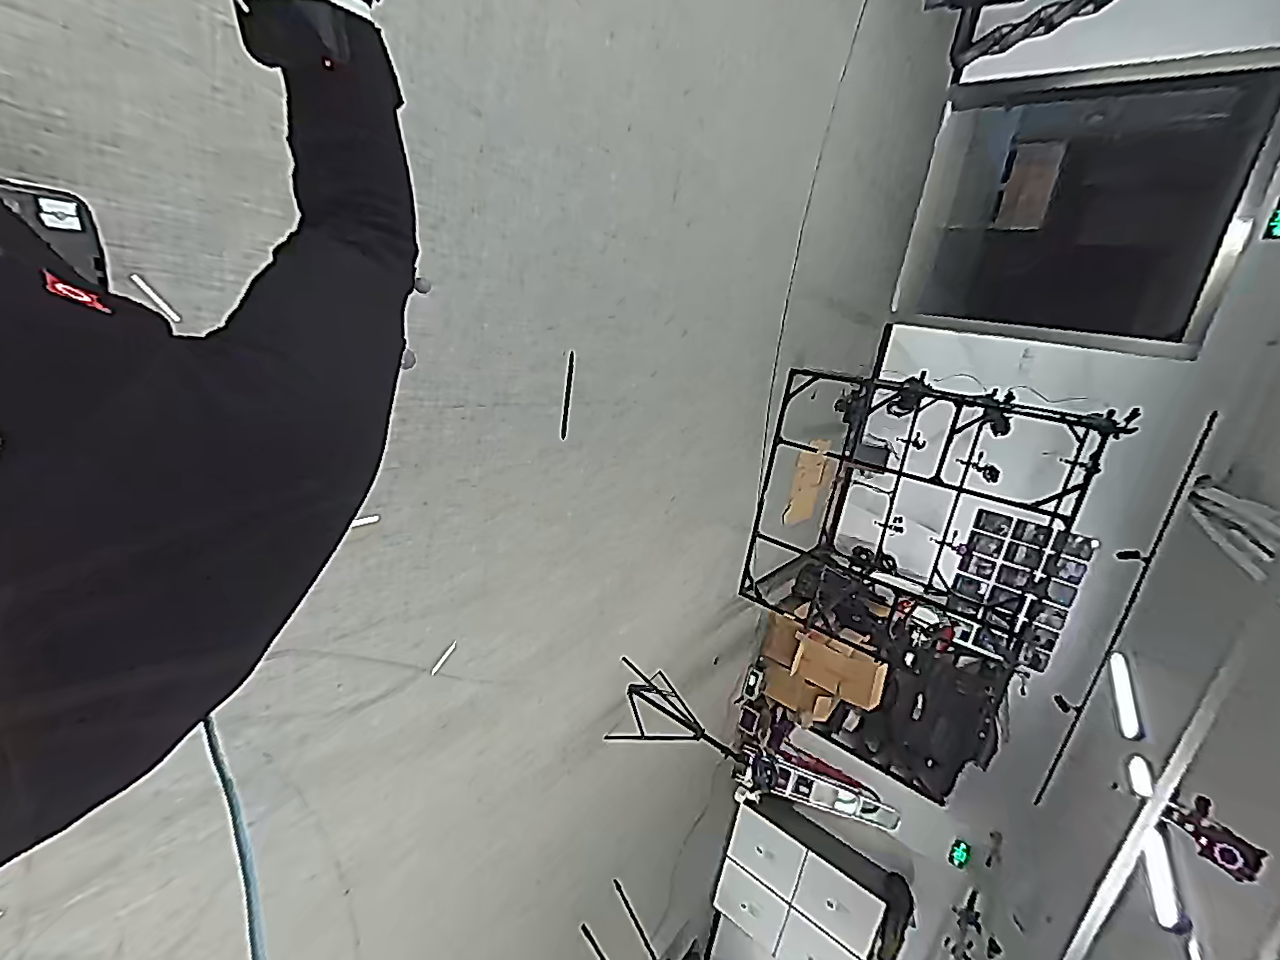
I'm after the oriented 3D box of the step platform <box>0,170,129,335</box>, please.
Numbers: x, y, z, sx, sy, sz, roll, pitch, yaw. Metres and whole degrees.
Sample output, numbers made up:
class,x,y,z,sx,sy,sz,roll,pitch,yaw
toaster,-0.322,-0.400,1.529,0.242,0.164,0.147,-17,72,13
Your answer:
class,x,y,z,sx,sy,sz,roll,pitch,yaw
step platform,-1.293,-0.397,0.869,0.684,0.204,0.286,-16,119,-52
